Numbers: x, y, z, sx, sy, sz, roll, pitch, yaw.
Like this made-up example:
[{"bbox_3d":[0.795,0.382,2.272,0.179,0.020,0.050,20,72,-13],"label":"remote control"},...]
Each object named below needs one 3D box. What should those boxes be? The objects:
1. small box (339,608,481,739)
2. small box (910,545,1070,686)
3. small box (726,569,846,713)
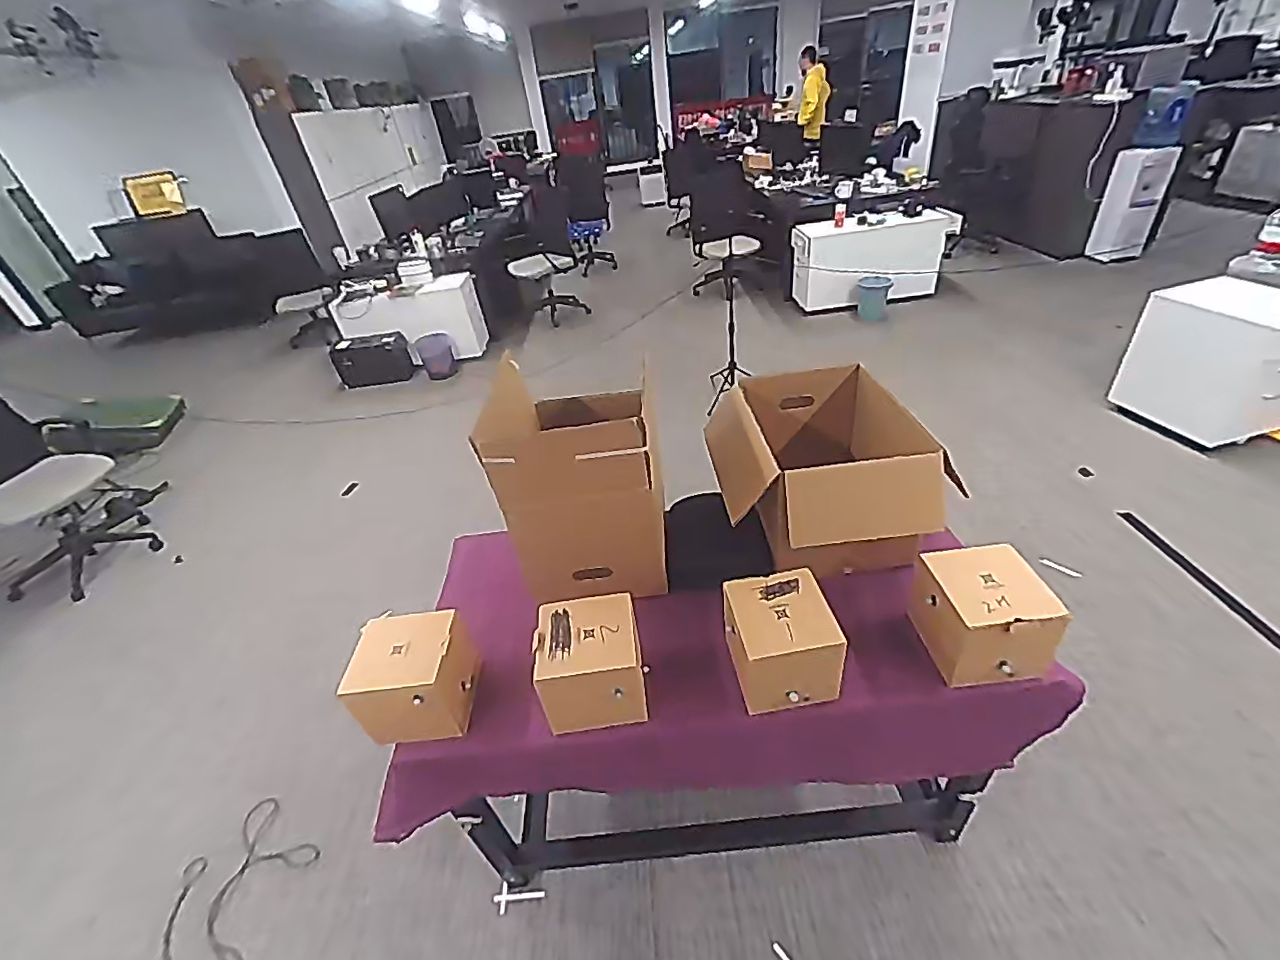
[{"bbox_3d":[-0.423,0.369,1.026,0.179,0.176,0.168,-6,36,1],"label":"small box"},{"bbox_3d":[0.613,0.244,0.978,0.168,0.176,0.179,-8,36,4],"label":"small box"},{"bbox_3d":[0.256,0.292,0.990,0.168,0.176,0.179,-10,37,-1],"label":"small box"}]
